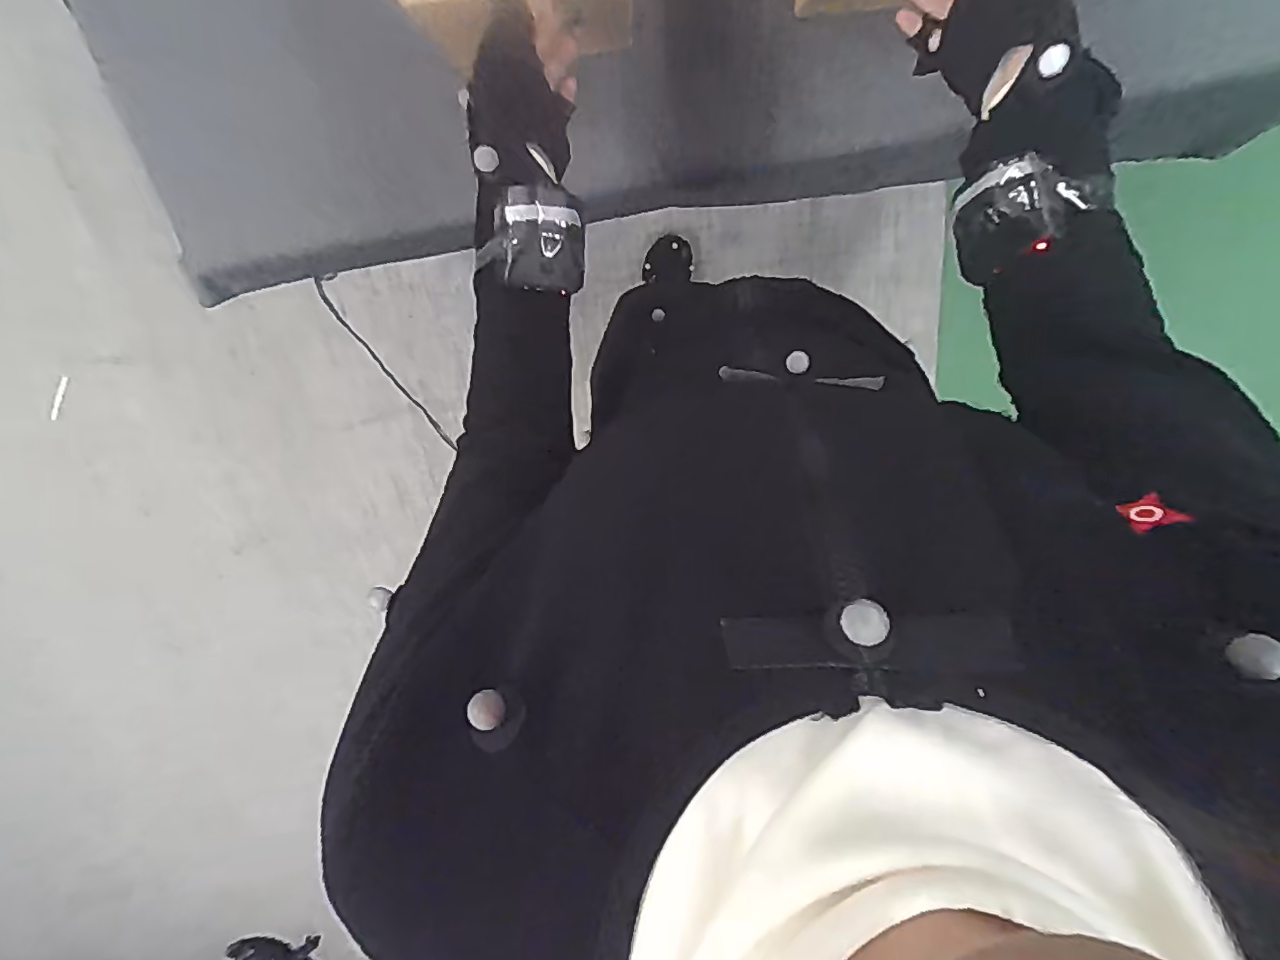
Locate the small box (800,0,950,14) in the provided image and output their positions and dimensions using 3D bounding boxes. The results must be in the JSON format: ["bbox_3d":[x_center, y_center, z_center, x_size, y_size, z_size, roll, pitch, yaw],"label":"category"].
[{"bbox_3d":[0.216,-0.492,0.411,0.168,0.176,0.179,-5,113,2],"label":"small box"}]
